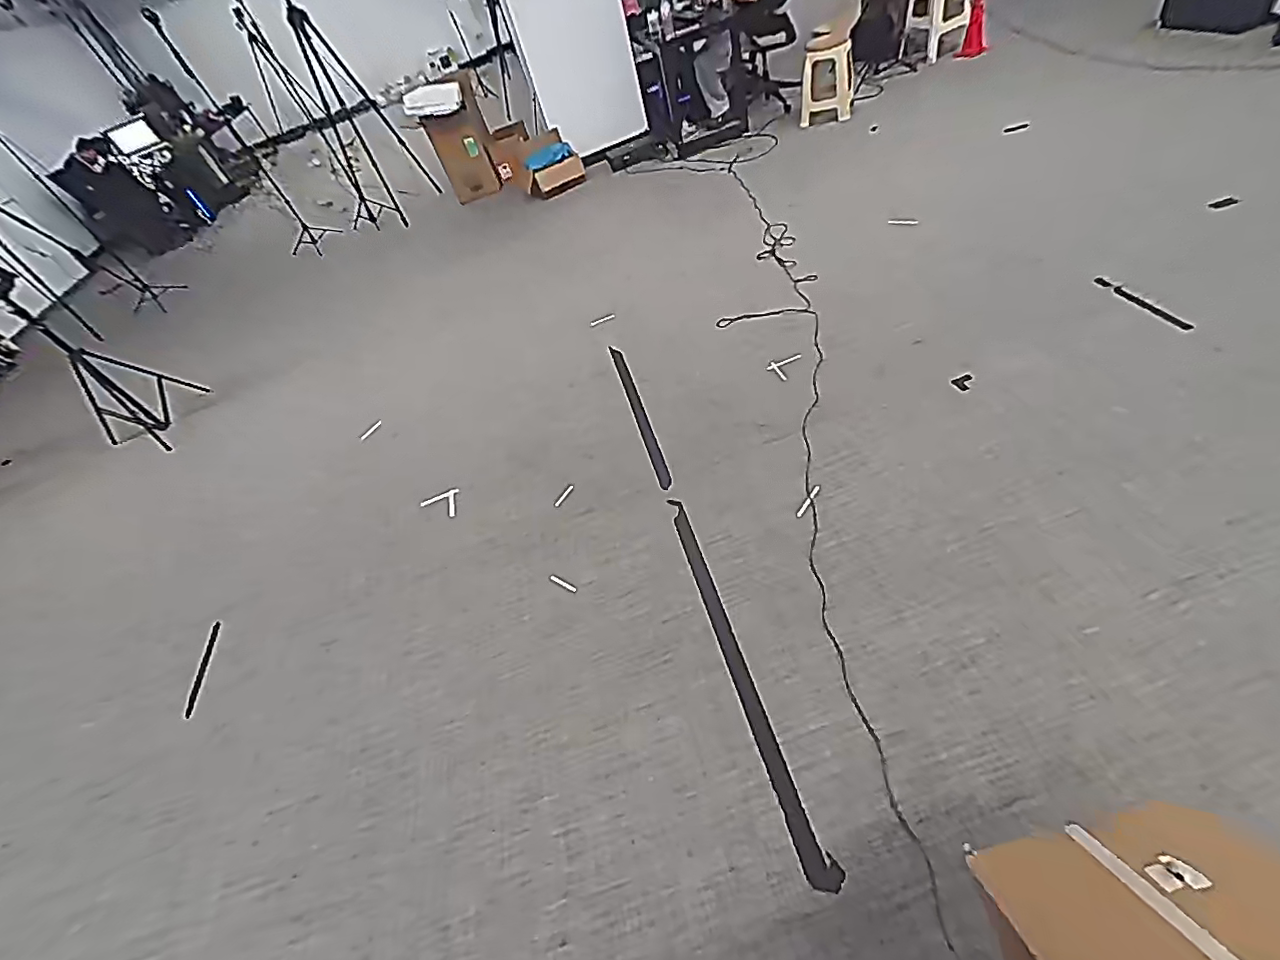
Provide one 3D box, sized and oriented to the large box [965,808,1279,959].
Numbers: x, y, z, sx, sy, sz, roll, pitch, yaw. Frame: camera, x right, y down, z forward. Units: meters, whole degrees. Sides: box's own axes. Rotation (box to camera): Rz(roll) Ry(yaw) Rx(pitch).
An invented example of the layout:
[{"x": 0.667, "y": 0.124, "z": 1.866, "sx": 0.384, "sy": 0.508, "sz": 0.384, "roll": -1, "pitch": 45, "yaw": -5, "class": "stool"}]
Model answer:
[{"x": 0.650, "y": 0.645, "z": 0.578, "sx": 0.320, "sy": 0.408, "sz": 0.320, "roll": -19, "pitch": 82, "yaw": 6, "class": "large box"}]
